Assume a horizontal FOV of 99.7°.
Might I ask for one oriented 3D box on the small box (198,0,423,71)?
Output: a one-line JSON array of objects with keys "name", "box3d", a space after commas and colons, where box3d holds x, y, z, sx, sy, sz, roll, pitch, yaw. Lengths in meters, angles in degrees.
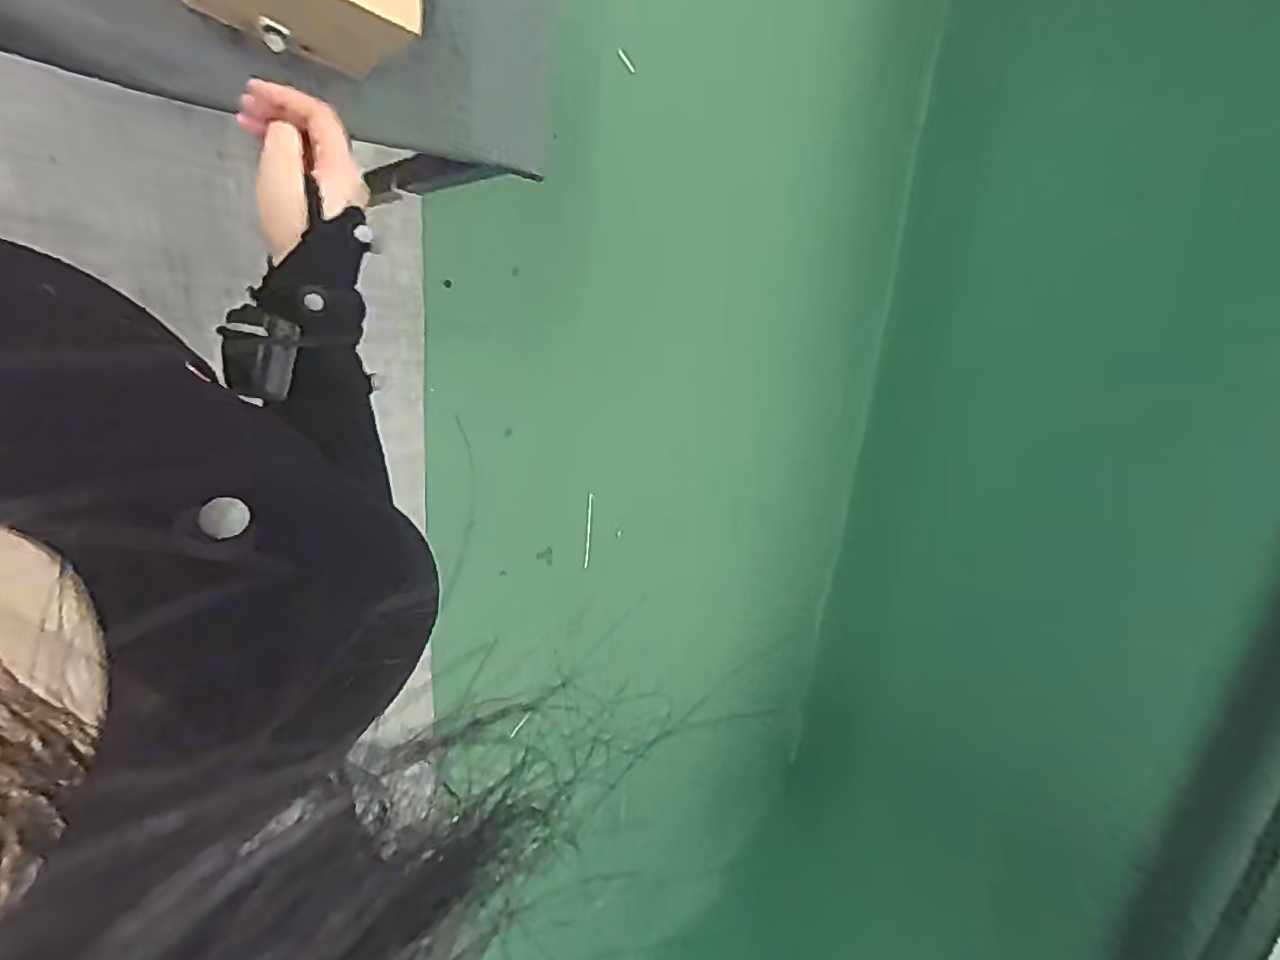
[{"name": "small box", "box3d": [-0.319, -0.534, 0.507, 0.168, 0.176, 0.179, -8, 110, -45]}]
